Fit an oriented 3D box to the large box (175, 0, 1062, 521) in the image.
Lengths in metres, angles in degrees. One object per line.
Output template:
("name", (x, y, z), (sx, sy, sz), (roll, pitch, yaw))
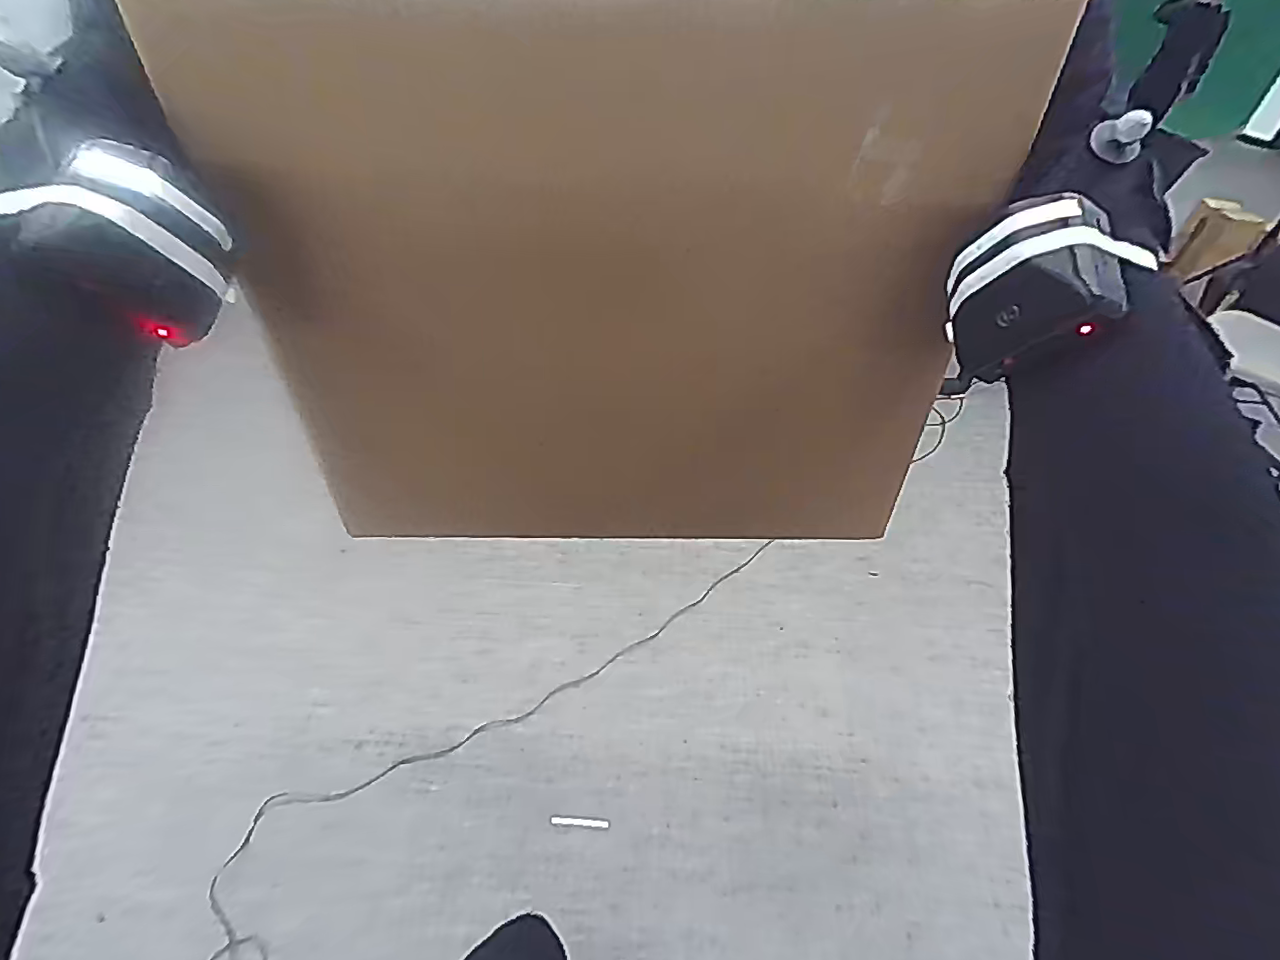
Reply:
("large box", (-0.014, -0.177, 0.441), (0.408, 0.320, 0.320), (1, 37, -1))
